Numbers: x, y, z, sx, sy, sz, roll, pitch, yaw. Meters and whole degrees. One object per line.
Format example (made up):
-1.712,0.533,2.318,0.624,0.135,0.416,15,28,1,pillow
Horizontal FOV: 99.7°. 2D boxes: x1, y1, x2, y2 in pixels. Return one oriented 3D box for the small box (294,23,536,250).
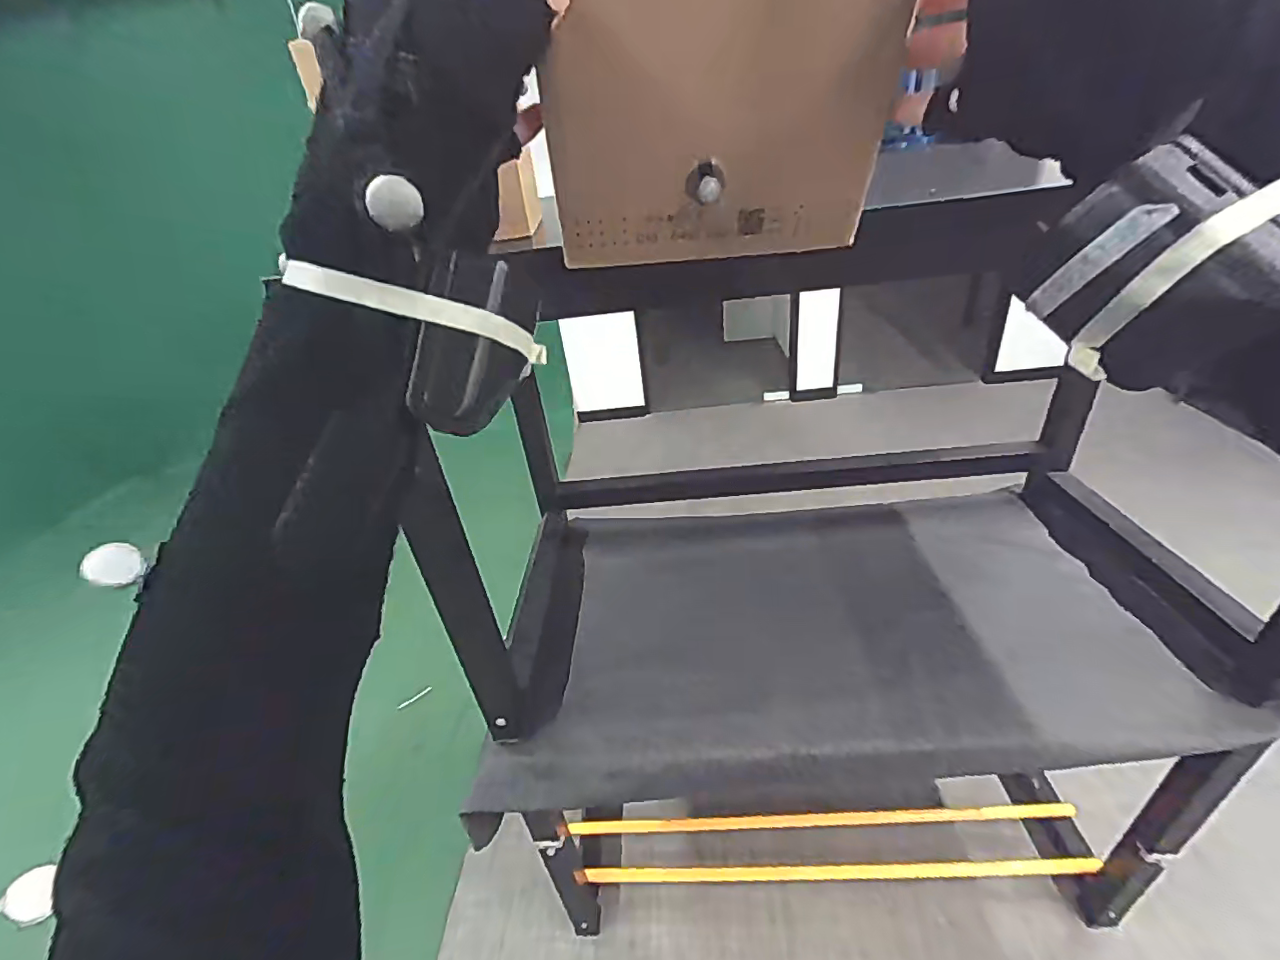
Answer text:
-0.210,-0.346,0.567,0.168,0.176,0.179,-8,31,-1,small box
